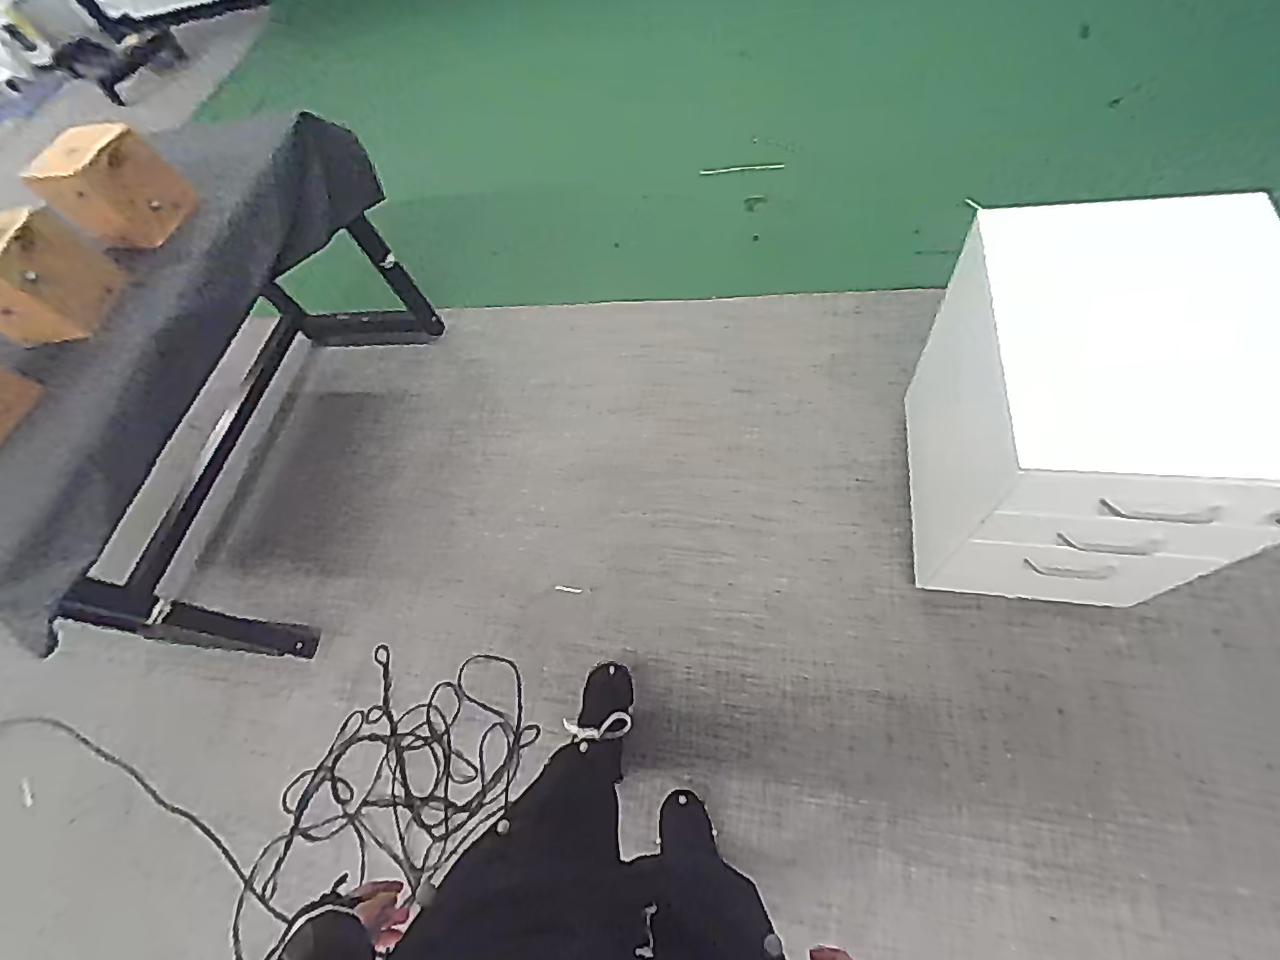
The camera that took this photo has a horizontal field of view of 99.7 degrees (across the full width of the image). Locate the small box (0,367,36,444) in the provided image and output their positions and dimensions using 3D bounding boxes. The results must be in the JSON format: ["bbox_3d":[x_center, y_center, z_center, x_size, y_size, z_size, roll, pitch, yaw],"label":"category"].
[{"bbox_3d":[-1.191,-0.135,0.903,0.168,0.176,0.179,6,65,17],"label":"small box"}]

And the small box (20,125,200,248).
[{"bbox_3d":[-1.101,-0.610,1.138,0.179,0.176,0.168,7,64,16],"label":"small box"}]
